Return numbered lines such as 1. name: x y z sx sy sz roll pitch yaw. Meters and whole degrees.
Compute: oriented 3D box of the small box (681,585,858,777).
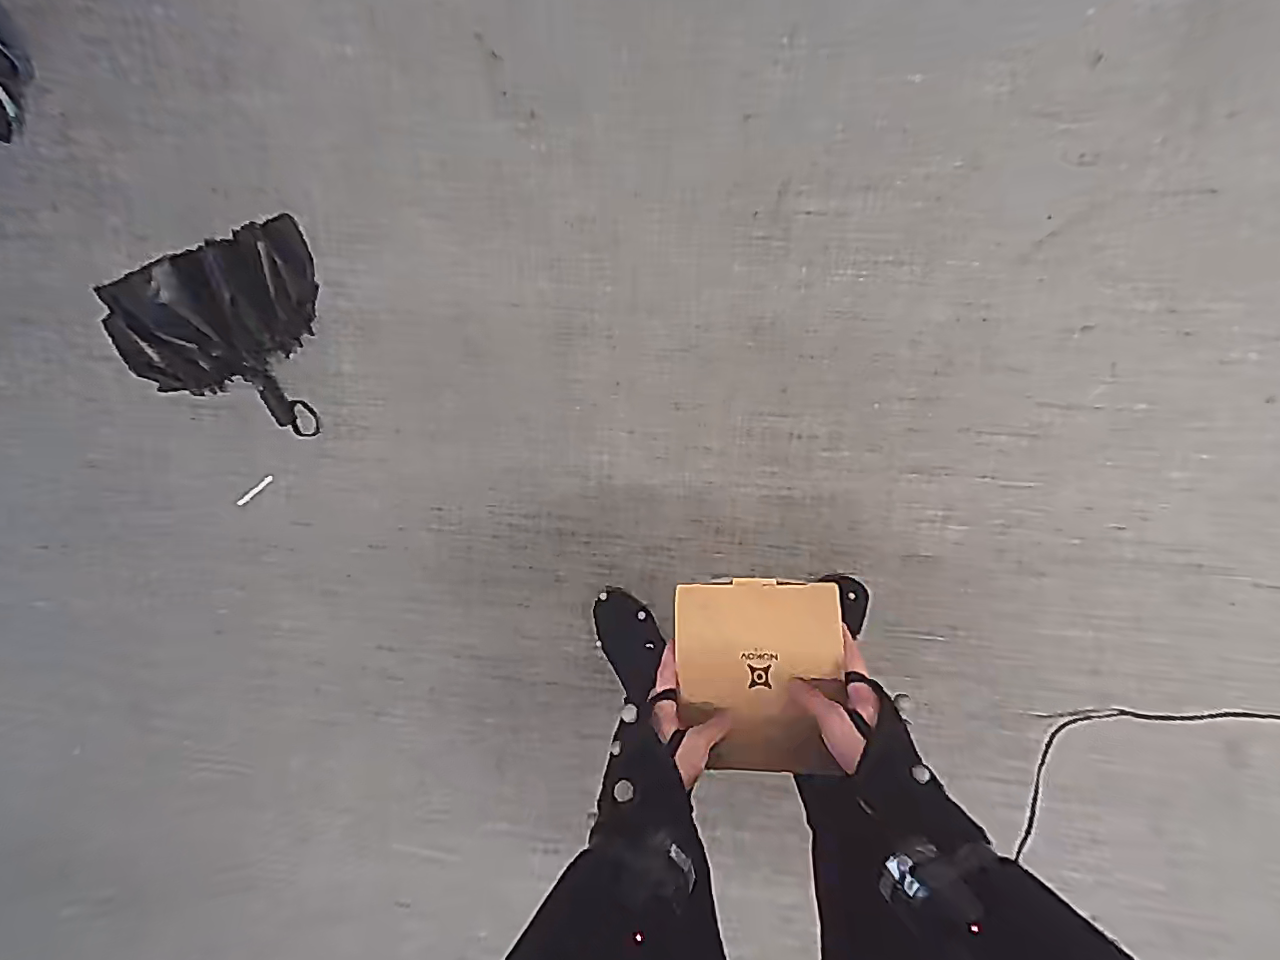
1. small box: 0.130 0.216 0.606 0.168 0.176 0.179 -2 73 6
